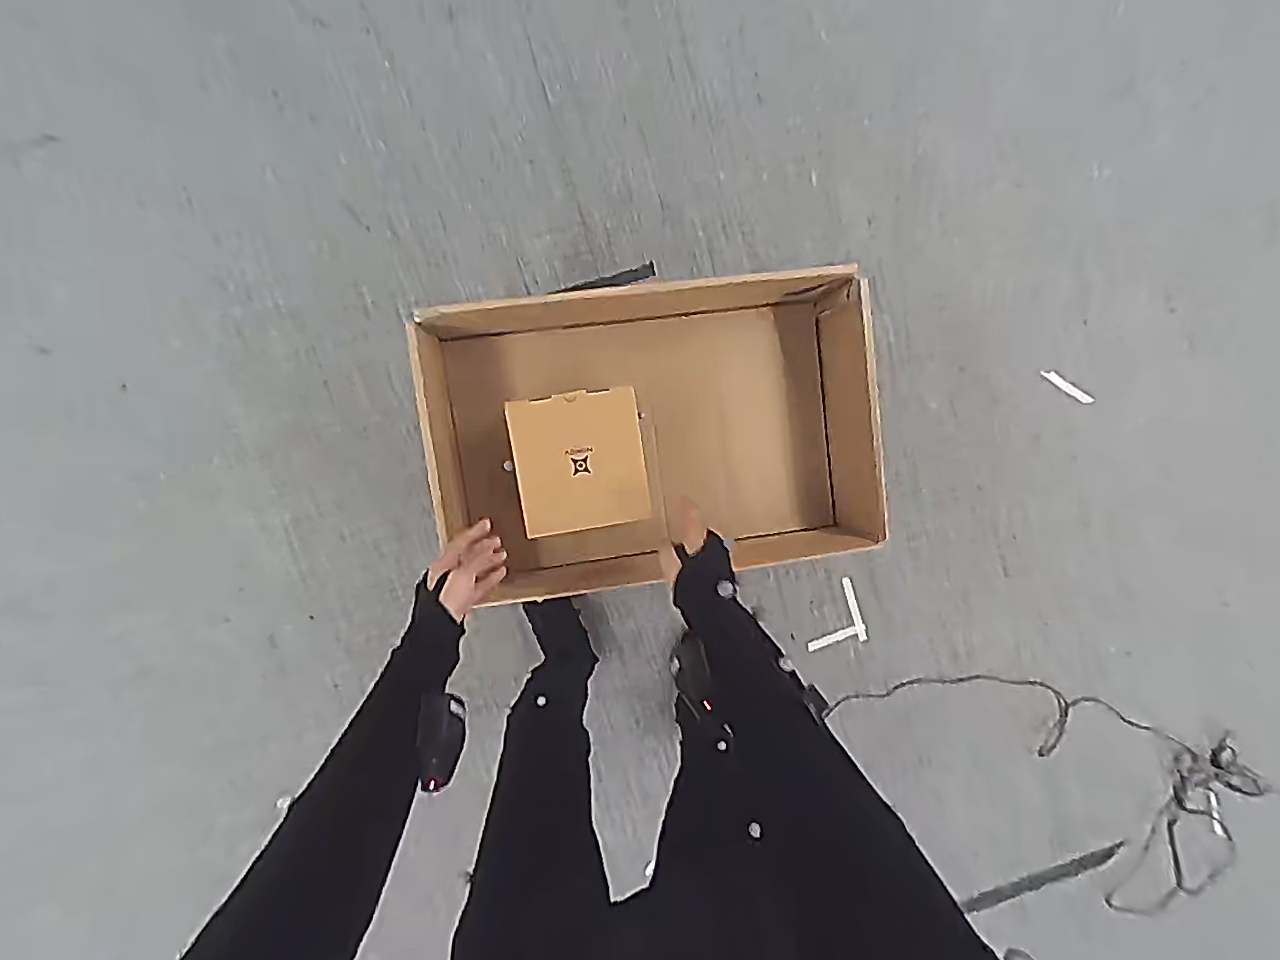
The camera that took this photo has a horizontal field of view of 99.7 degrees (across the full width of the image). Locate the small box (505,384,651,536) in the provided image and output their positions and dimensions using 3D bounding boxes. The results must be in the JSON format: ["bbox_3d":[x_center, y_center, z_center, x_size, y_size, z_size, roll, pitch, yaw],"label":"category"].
[{"bbox_3d":[-0.083,-0.032,0.762,0.168,0.176,0.179,-9,95,-5],"label":"small box"}]
